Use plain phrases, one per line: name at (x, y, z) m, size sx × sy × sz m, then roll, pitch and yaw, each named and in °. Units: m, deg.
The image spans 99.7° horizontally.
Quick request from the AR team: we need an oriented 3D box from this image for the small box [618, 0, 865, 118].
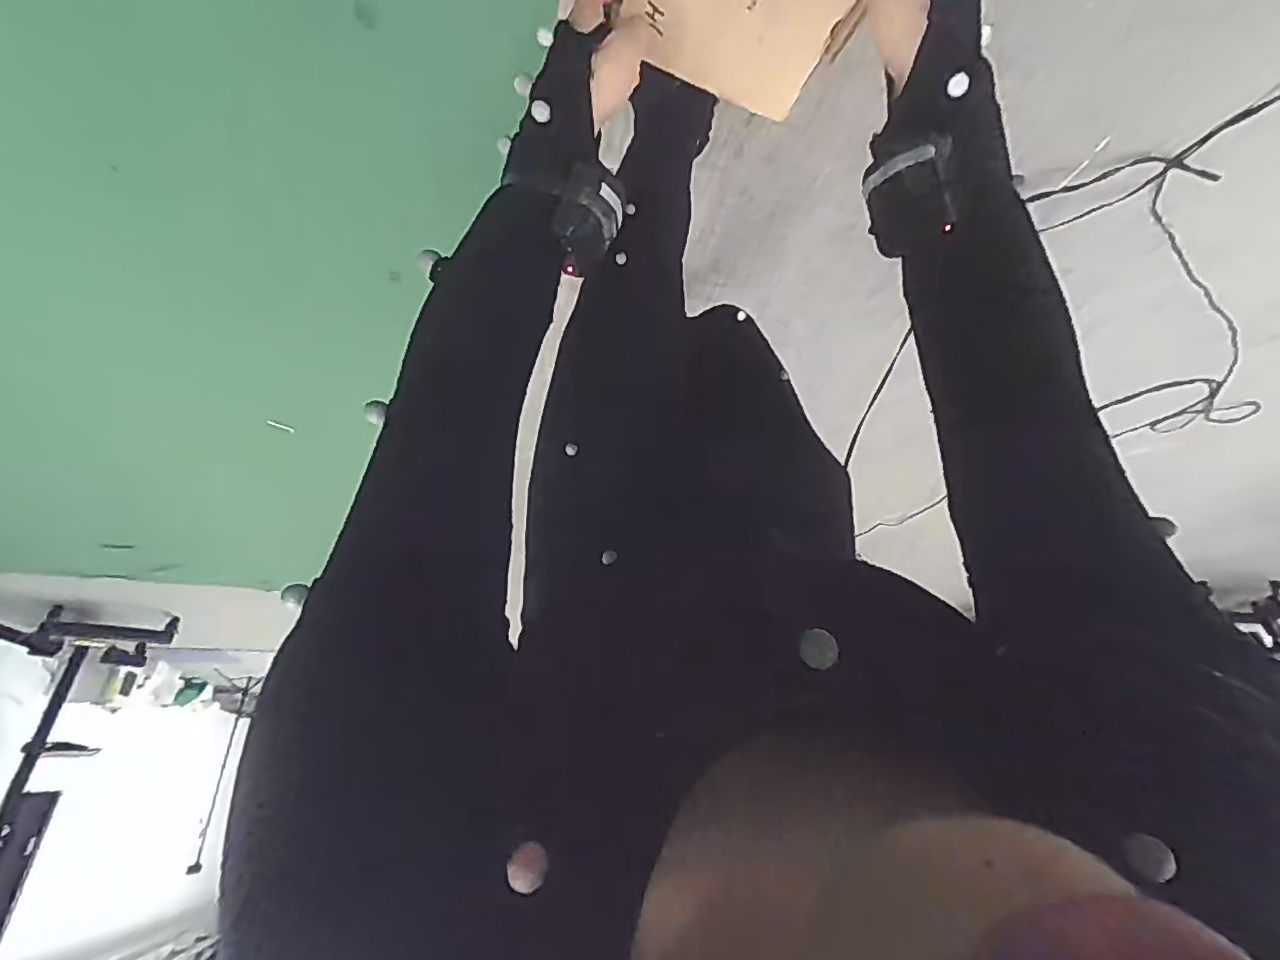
small box at (0.090, -0.458, 0.448) m, size 0.179 × 0.176 × 0.168 m, roll 9°, pitch 154°, yaw -20°
